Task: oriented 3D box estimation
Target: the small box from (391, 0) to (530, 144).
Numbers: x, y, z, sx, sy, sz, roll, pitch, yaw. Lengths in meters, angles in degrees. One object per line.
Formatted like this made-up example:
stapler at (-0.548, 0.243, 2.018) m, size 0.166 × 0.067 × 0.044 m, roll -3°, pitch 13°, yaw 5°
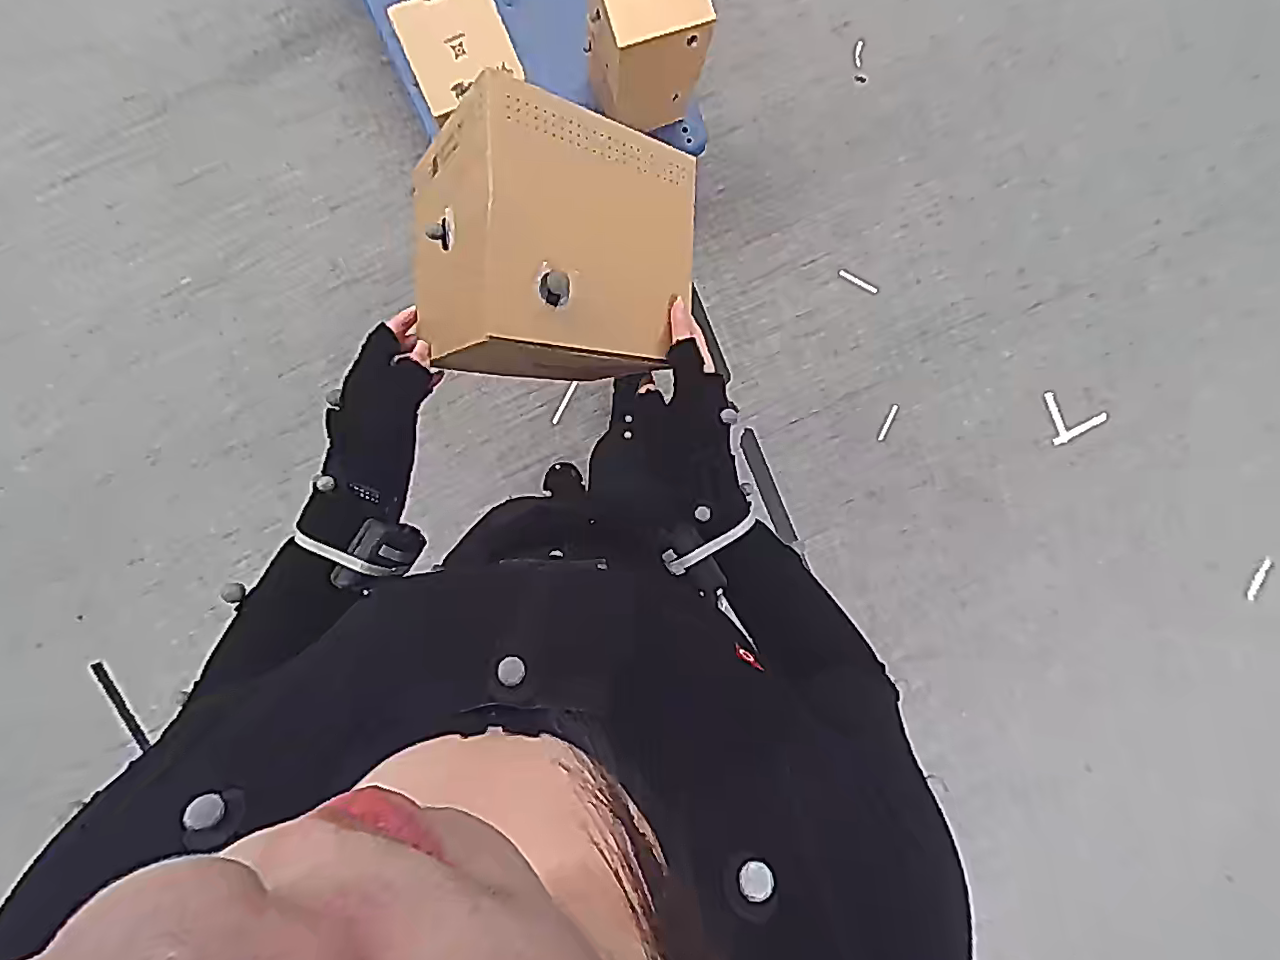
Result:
small box at (-0.296, -0.701, 0.947) m, size 0.168 × 0.176 × 0.179 m, roll -23°, pitch 97°, yaw -1°

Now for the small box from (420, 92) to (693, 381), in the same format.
small box at (-0.073, -0.181, 0.454) m, size 0.179 × 0.168 × 0.176 m, roll -2°, pitch 96°, yaw -38°

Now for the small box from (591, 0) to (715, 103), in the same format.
small box at (0.014, -0.816, 0.960) m, size 0.179 × 0.176 × 0.168 m, roll -19°, pitch 98°, yaw -3°
